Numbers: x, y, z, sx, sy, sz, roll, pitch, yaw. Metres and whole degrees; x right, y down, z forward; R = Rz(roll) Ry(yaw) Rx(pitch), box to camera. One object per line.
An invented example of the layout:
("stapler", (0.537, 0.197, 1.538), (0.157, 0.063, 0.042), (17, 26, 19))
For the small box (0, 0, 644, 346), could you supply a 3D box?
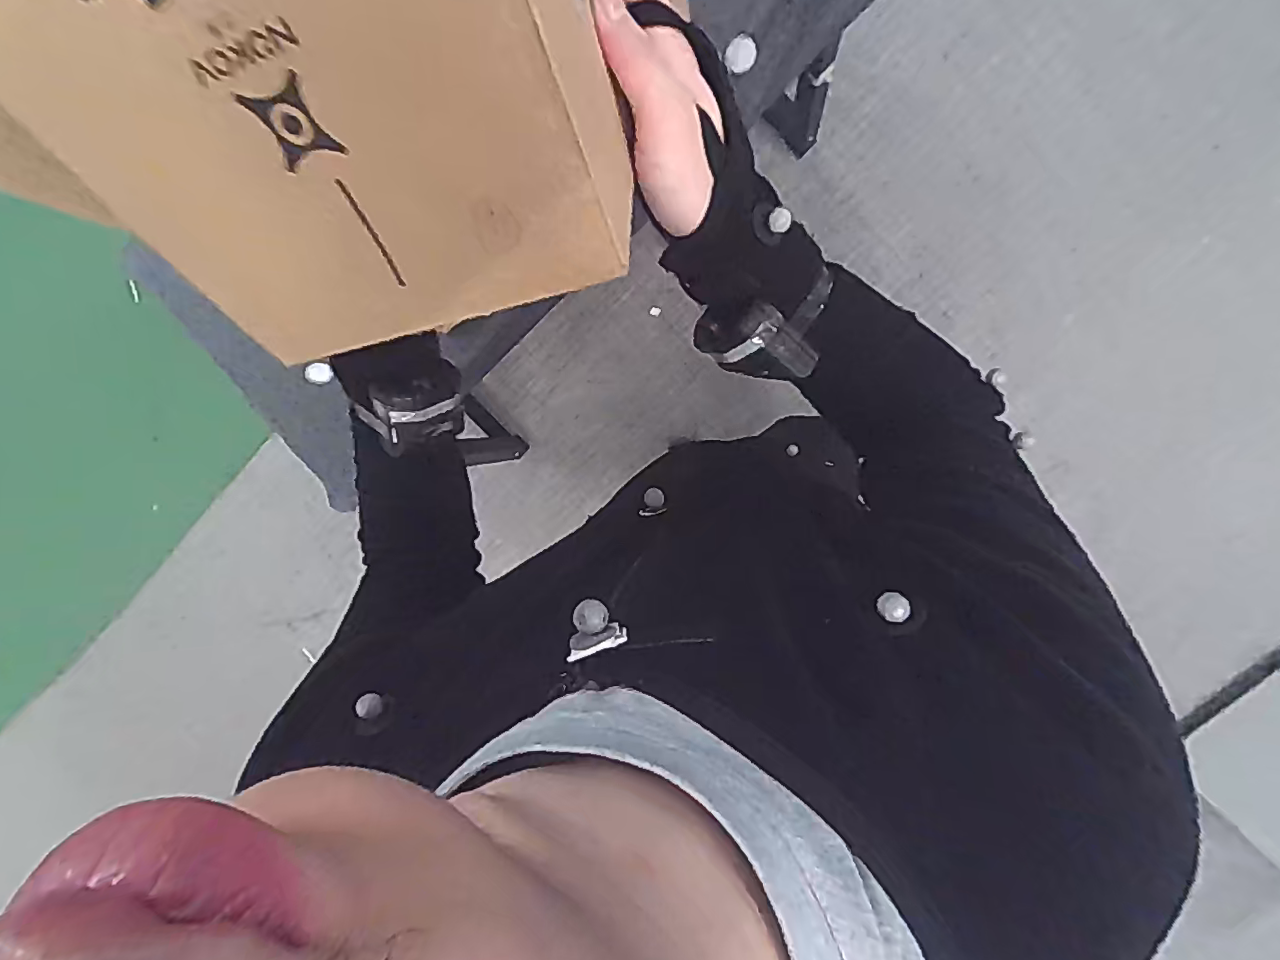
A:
("small box", (-0.099, -0.187, 0.213), (0.168, 0.179, 0.176), (-8, 52, 14))
